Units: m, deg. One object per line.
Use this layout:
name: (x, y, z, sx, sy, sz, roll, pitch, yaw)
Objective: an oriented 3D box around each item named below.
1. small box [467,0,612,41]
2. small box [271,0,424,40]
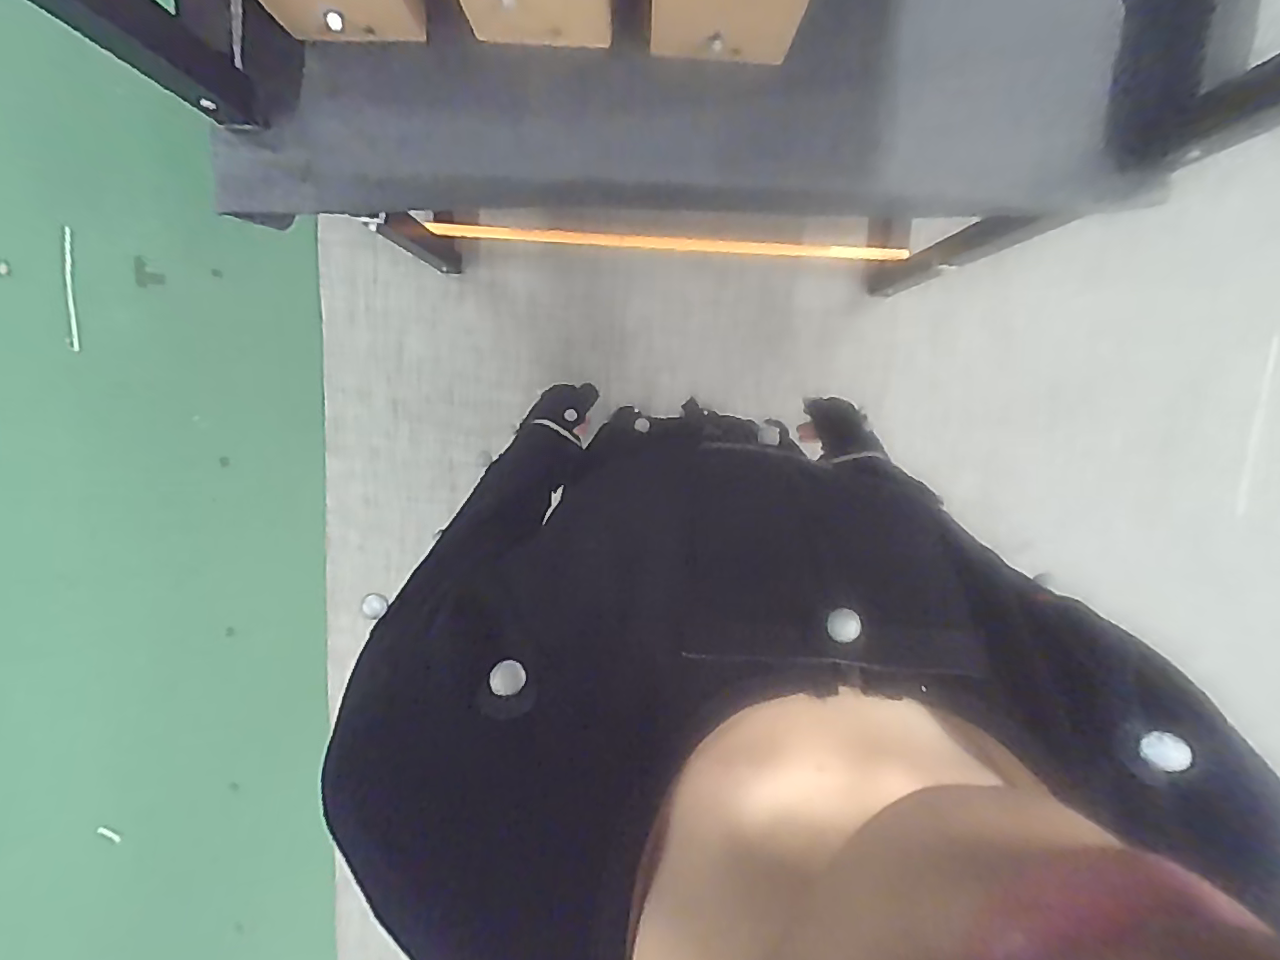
small box: (-0.114, -0.611, 0.572, 0.168, 0.176, 0.179, 3, 98, -1)
small box: (-0.341, -0.617, 0.569, 0.168, 0.176, 0.179, 1, 99, 0)
